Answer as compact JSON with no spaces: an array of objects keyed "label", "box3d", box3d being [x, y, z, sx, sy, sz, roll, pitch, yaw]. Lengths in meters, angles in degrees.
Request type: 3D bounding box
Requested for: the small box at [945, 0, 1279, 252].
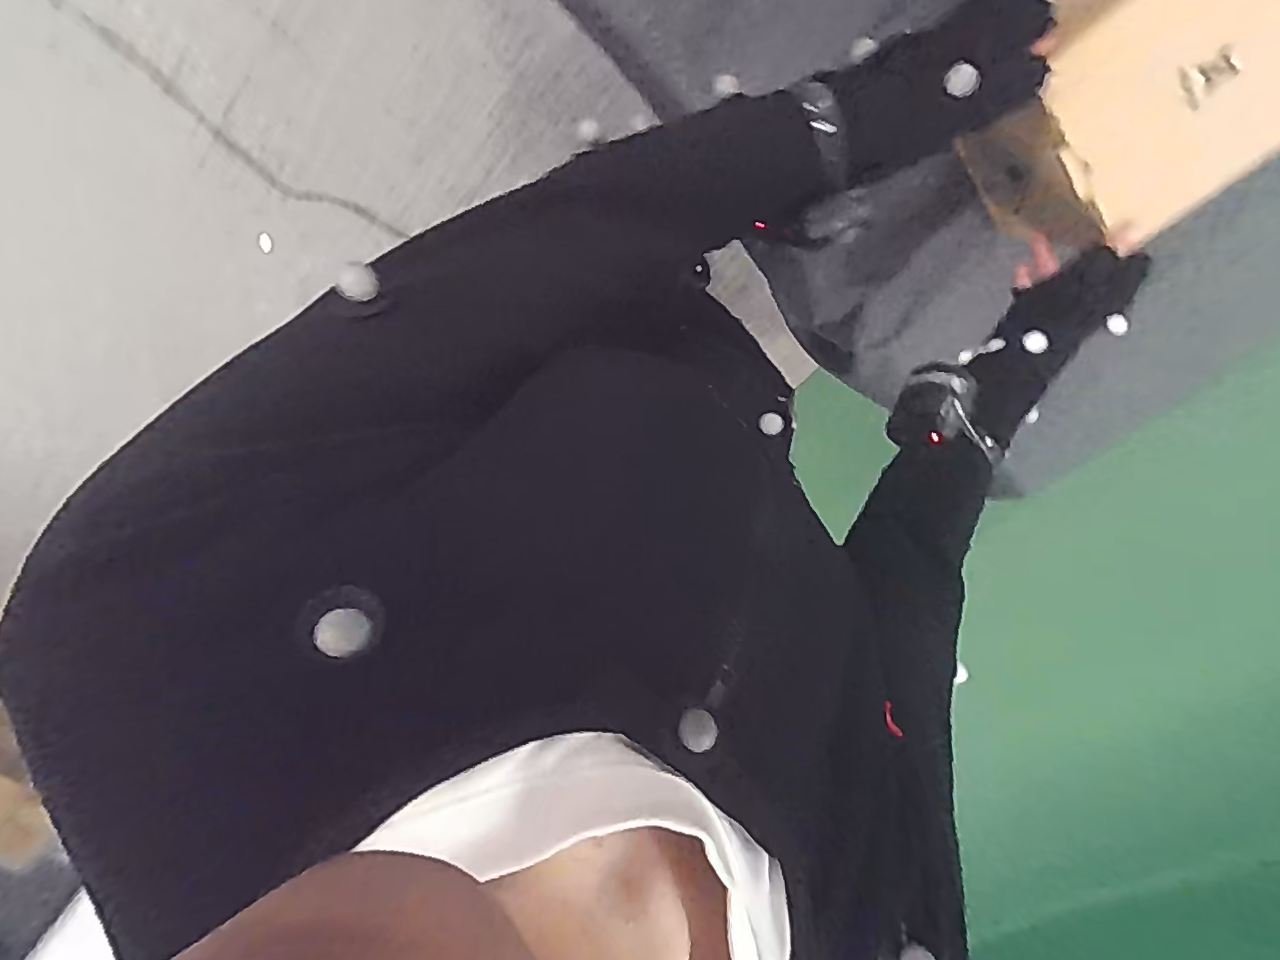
[{"label":"small box","box3d":[0.392,-0.324,0.453,0.179,0.176,0.168,-37,112,20]}]
